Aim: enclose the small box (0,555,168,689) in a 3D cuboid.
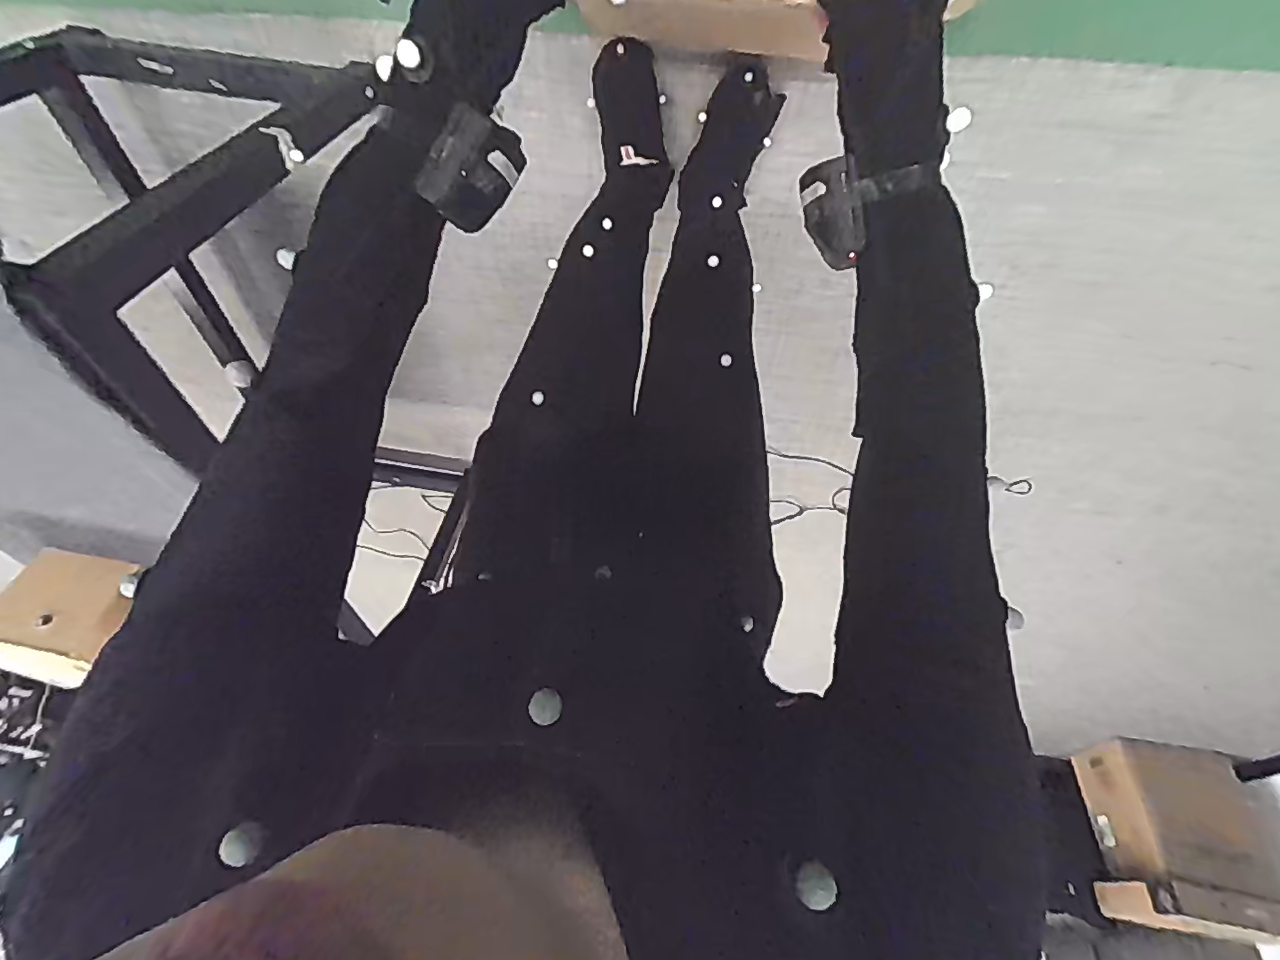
[{"bbox_3d":[-0.981,0.251,0.961,0.179,0.176,0.168,11,142,-1],"label":"small box"}]
